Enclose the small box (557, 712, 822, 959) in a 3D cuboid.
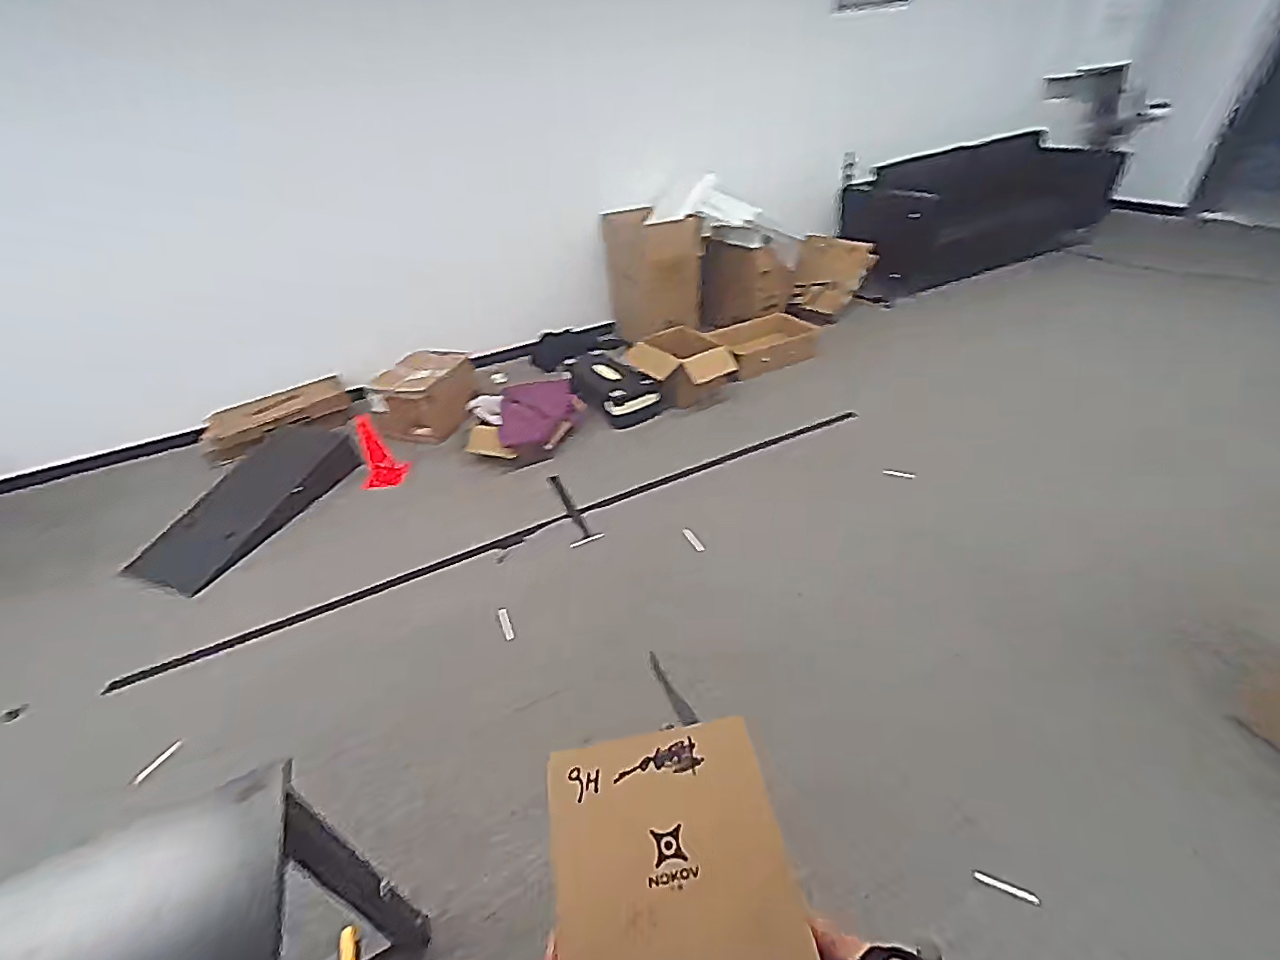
[{"bbox_3d":[0.032,0.322,0.444,0.168,0.176,0.179,-10,46,-4],"label":"small box"}]
